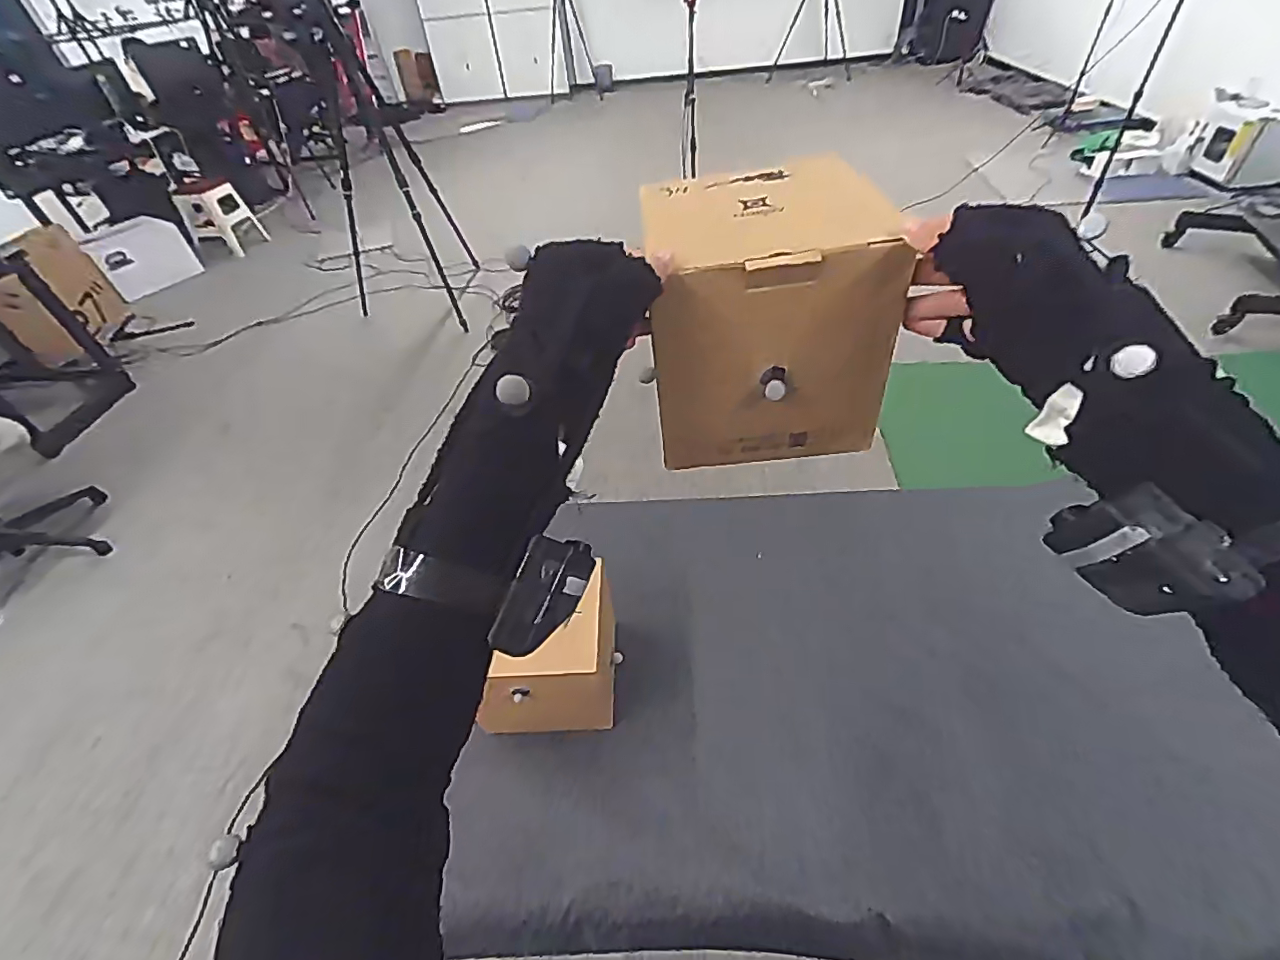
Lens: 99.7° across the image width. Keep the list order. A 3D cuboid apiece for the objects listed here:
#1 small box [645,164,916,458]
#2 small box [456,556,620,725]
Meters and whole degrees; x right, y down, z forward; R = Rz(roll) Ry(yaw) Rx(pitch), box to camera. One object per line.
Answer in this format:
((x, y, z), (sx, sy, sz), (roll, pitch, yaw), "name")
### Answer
((0.096, -0.130, 0.443), (0.168, 0.176, 0.179), (-5, 45, 4), "small box")
((-0.124, 0.222, 0.742), (0.179, 0.176, 0.168), (-3, 45, 3), "small box")
